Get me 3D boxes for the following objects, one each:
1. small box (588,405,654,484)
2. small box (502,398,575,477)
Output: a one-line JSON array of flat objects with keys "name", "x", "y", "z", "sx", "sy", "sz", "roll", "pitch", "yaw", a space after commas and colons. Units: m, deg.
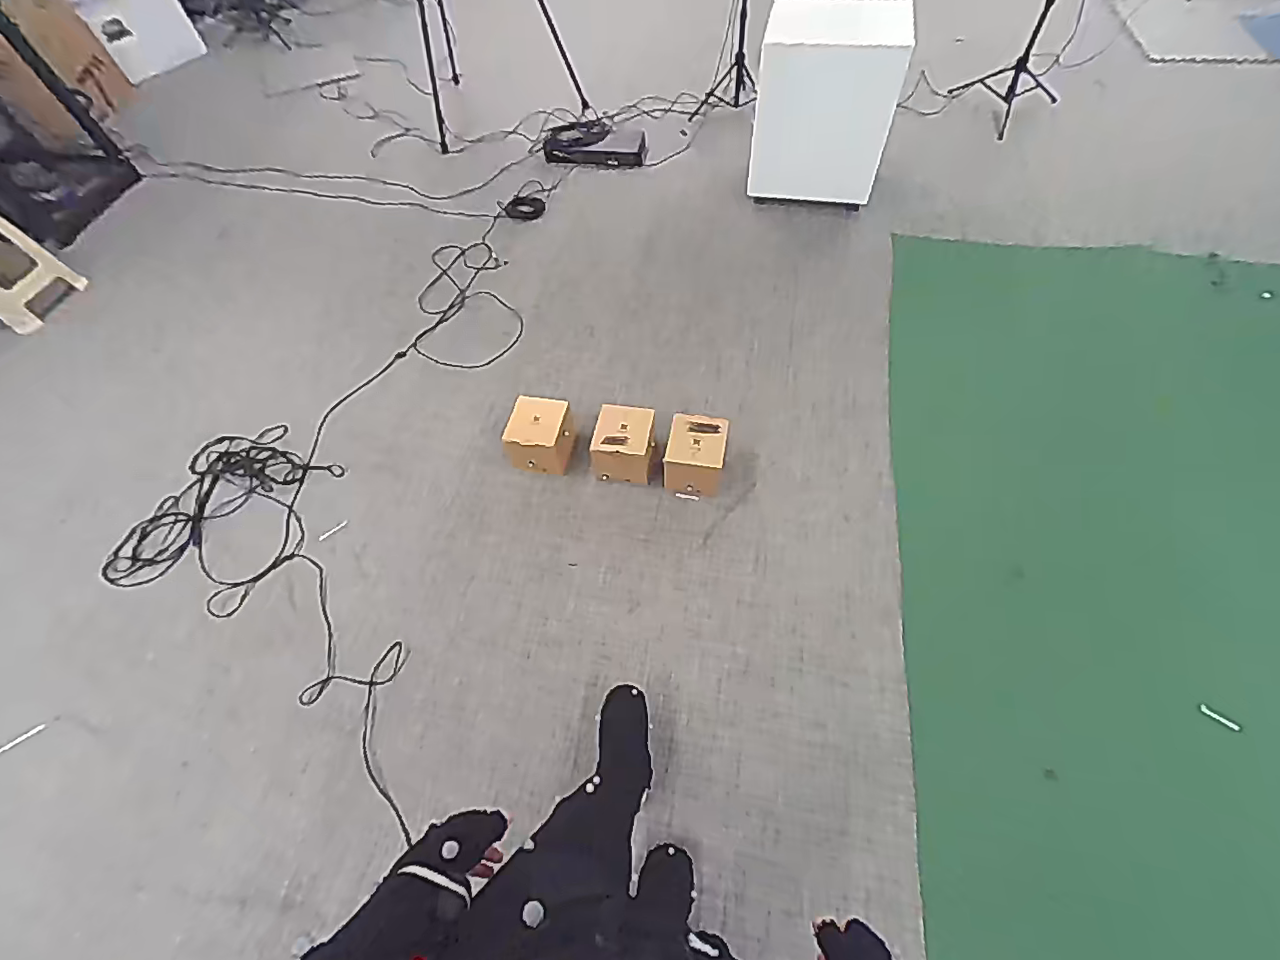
[{"name": "small box", "x": -0.051, "y": -0.106, "z": 1.672, "sx": 0.168, "sy": 0.176, "sz": 0.179, "roll": 7, "pitch": 58, "yaw": 9}, {"name": "small box", "x": -0.313, "y": -0.134, "z": 1.713, "sx": 0.168, "sy": 0.176, "sz": 0.179, "roll": 7, "pitch": 59, "yaw": 9}]
